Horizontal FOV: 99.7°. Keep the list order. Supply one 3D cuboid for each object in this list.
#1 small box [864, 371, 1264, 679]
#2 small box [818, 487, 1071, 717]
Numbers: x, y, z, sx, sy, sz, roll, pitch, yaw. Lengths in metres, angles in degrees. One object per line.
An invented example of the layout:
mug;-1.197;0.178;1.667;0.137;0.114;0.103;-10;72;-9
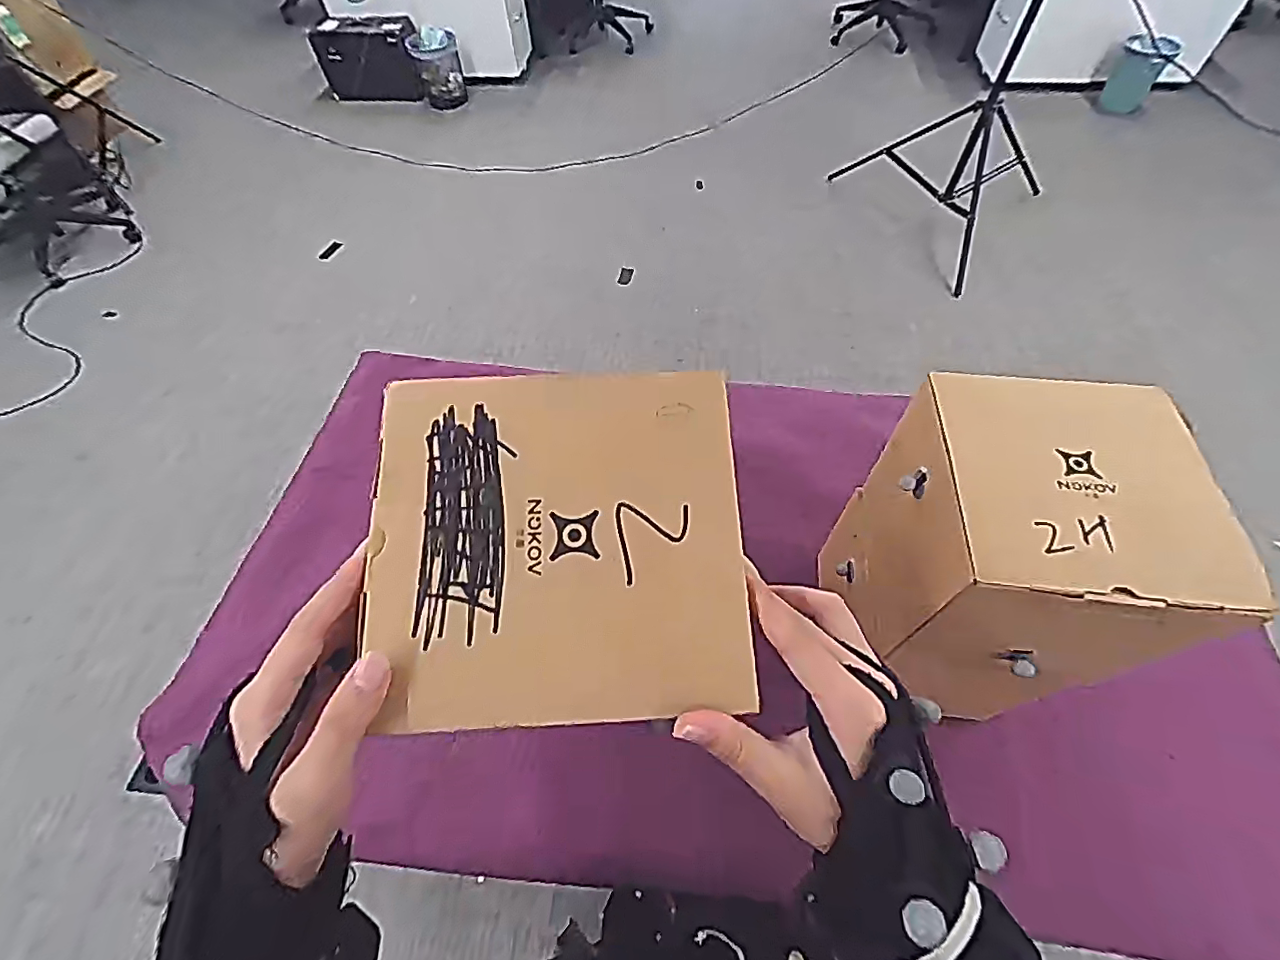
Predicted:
small box;0.290;0.039;0.429;0.168;0.176;0.179;5;57;6
small box;0.290;0.131;0.567;0.168;0.176;0.179;5;57;6
